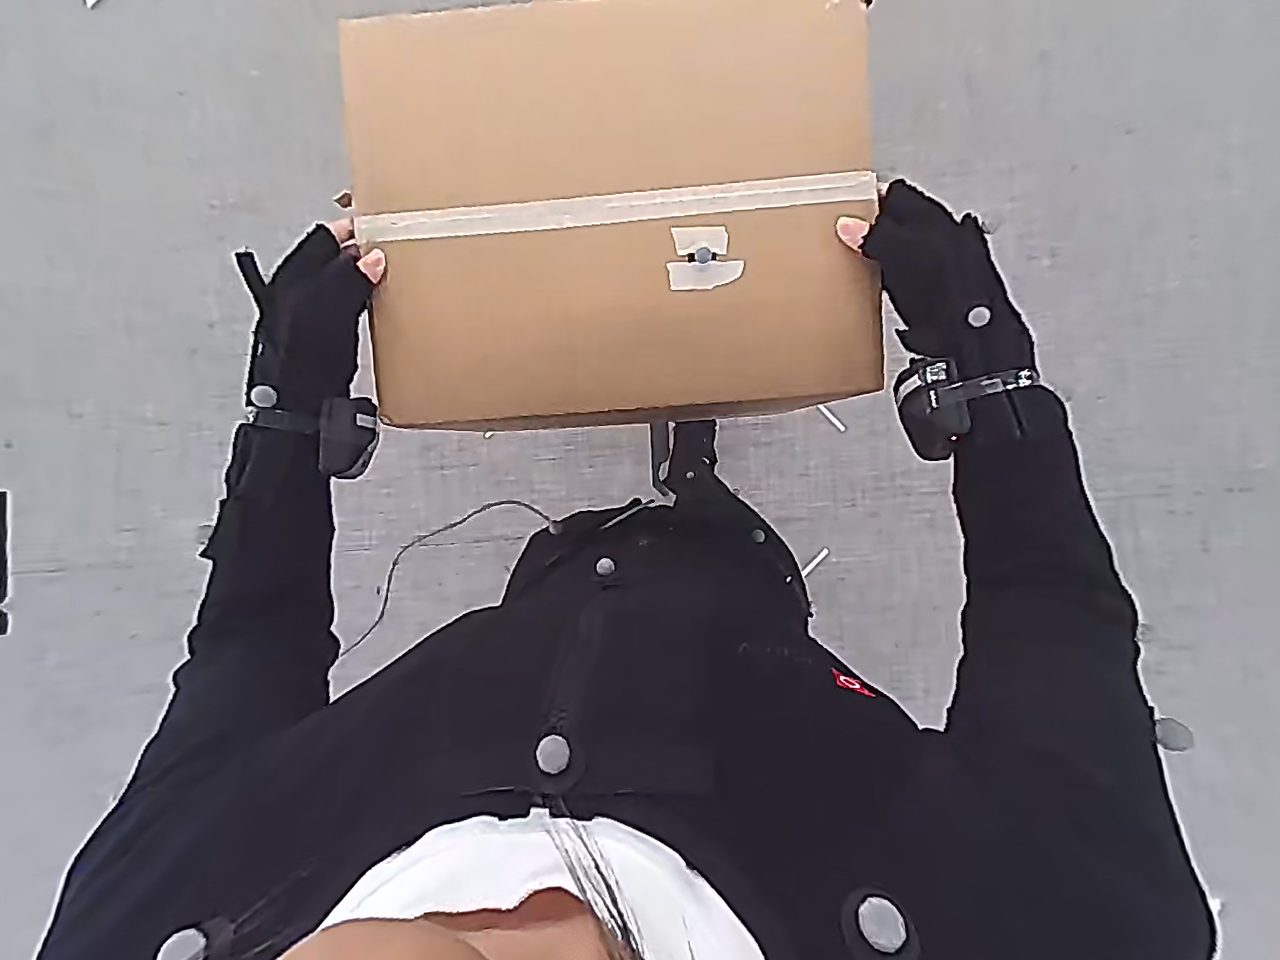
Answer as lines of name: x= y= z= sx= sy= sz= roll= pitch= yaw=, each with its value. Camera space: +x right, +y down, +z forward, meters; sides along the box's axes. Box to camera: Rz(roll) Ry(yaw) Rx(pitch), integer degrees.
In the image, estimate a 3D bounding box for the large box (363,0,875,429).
large box: x=-0.014 y=-0.230 z=0.588 sx=0.408 sy=0.320 sz=0.320 roll=-4 pitch=95 yaw=1
